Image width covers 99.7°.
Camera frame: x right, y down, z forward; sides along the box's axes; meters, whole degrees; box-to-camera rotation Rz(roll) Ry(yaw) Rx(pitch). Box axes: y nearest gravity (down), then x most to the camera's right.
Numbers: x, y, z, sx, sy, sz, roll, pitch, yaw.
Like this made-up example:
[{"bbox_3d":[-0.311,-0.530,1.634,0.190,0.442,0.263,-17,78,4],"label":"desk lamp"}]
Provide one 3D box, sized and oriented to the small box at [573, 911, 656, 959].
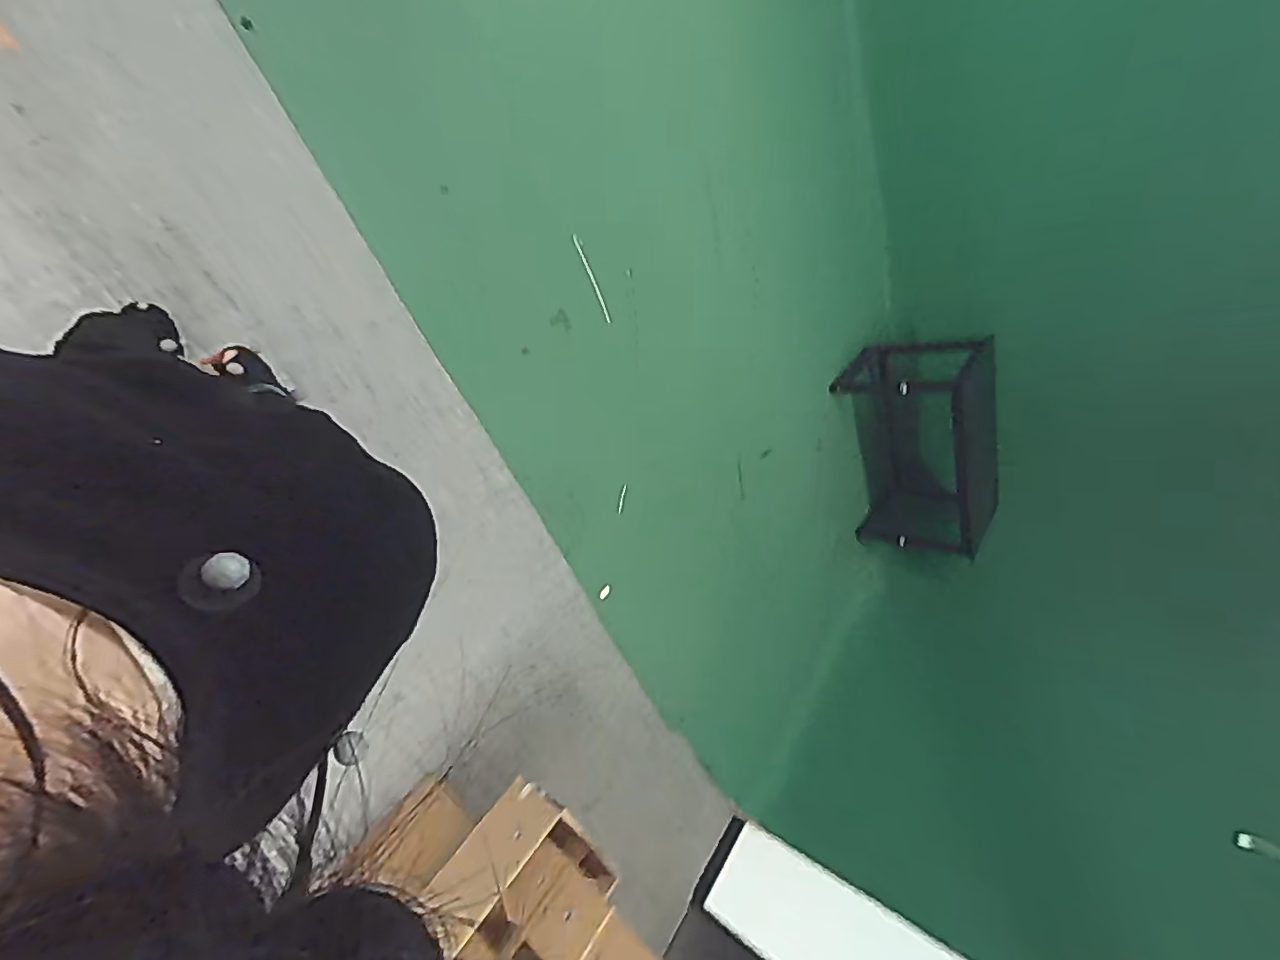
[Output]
[{"bbox_3d":[-0.048,1.107,1.178,0.179,0.176,0.168,-45,126,-29],"label":"small box"}]
